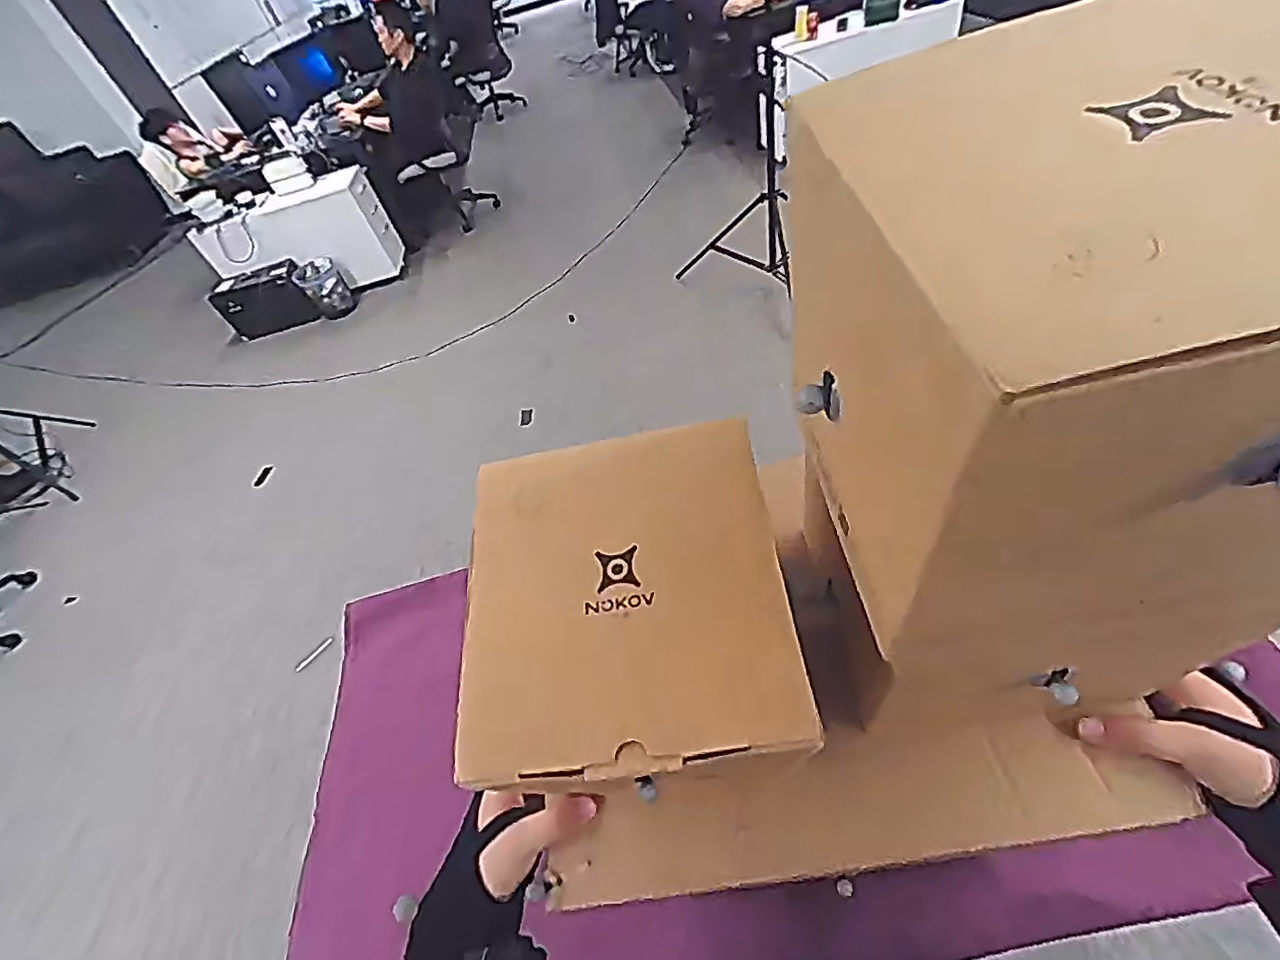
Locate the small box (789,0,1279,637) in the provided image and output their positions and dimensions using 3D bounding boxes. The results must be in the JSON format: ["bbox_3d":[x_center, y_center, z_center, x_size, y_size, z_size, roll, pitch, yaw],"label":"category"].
[{"bbox_3d":[0.163,-0.055,0.203,0.179,0.176,0.168,-11,53,7],"label":"small box"}]
